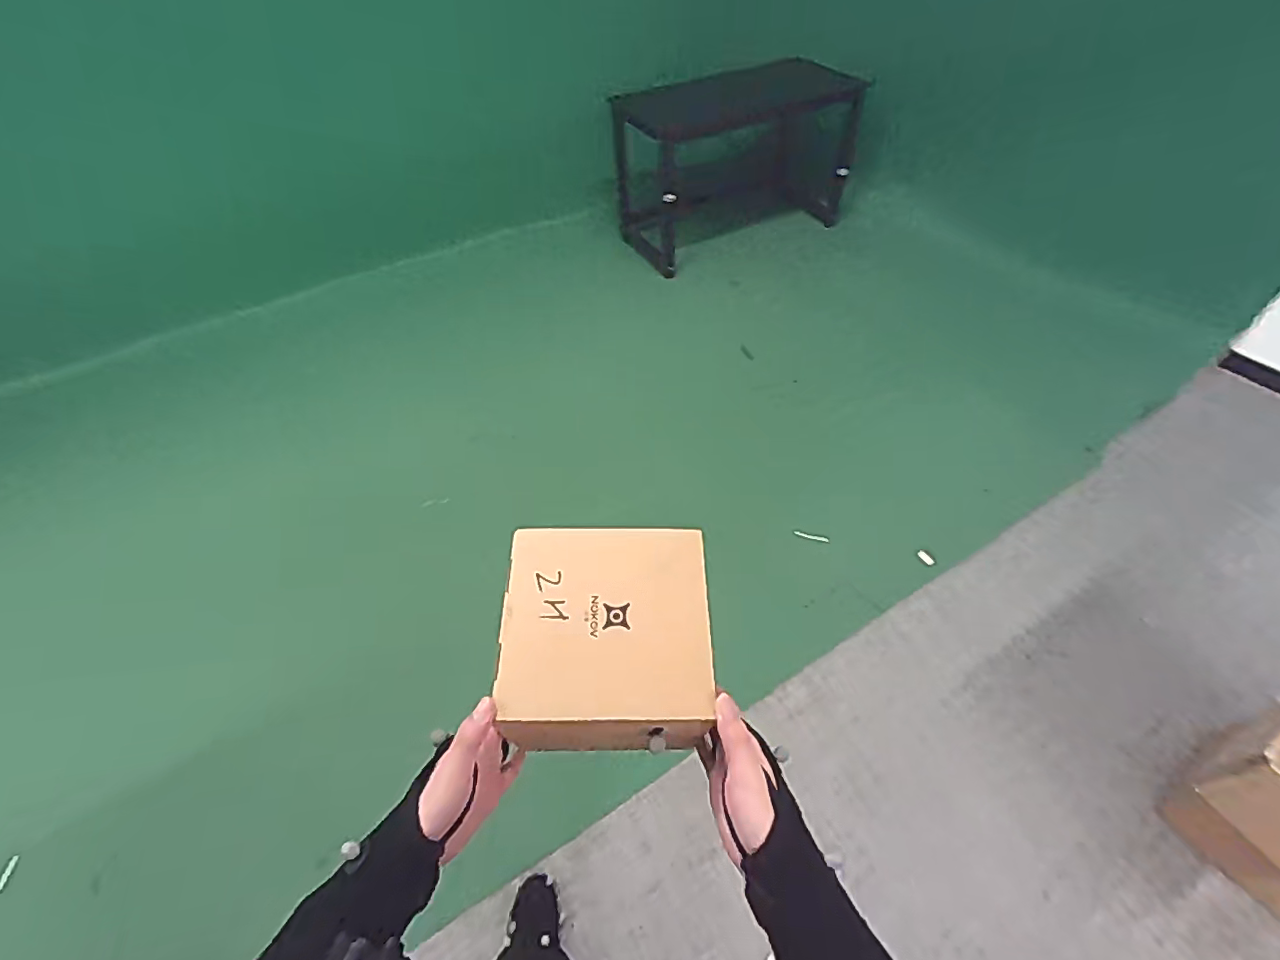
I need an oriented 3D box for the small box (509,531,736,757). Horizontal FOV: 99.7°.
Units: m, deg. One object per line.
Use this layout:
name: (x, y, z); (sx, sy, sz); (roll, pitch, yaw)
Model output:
small box: (-0.016, 0.163, 0.520); (0.179, 0.176, 0.168); (1, 56, -2)
